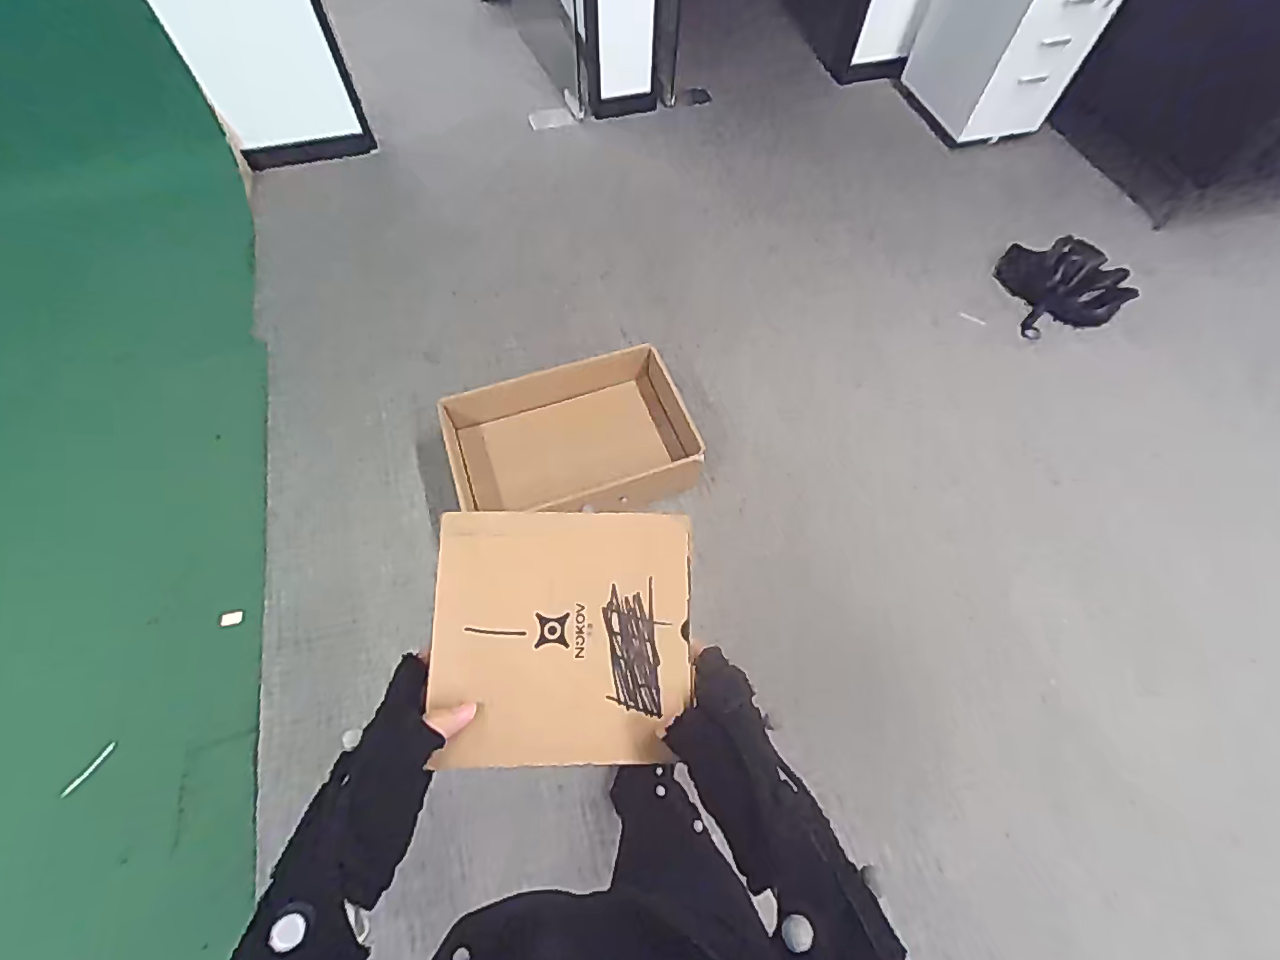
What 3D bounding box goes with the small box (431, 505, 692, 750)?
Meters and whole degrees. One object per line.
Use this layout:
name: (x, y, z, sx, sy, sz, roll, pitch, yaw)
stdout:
small box: (-0.057, 0.117, 0.456, 0.179, 0.176, 0.168, 1, 76, -4)
